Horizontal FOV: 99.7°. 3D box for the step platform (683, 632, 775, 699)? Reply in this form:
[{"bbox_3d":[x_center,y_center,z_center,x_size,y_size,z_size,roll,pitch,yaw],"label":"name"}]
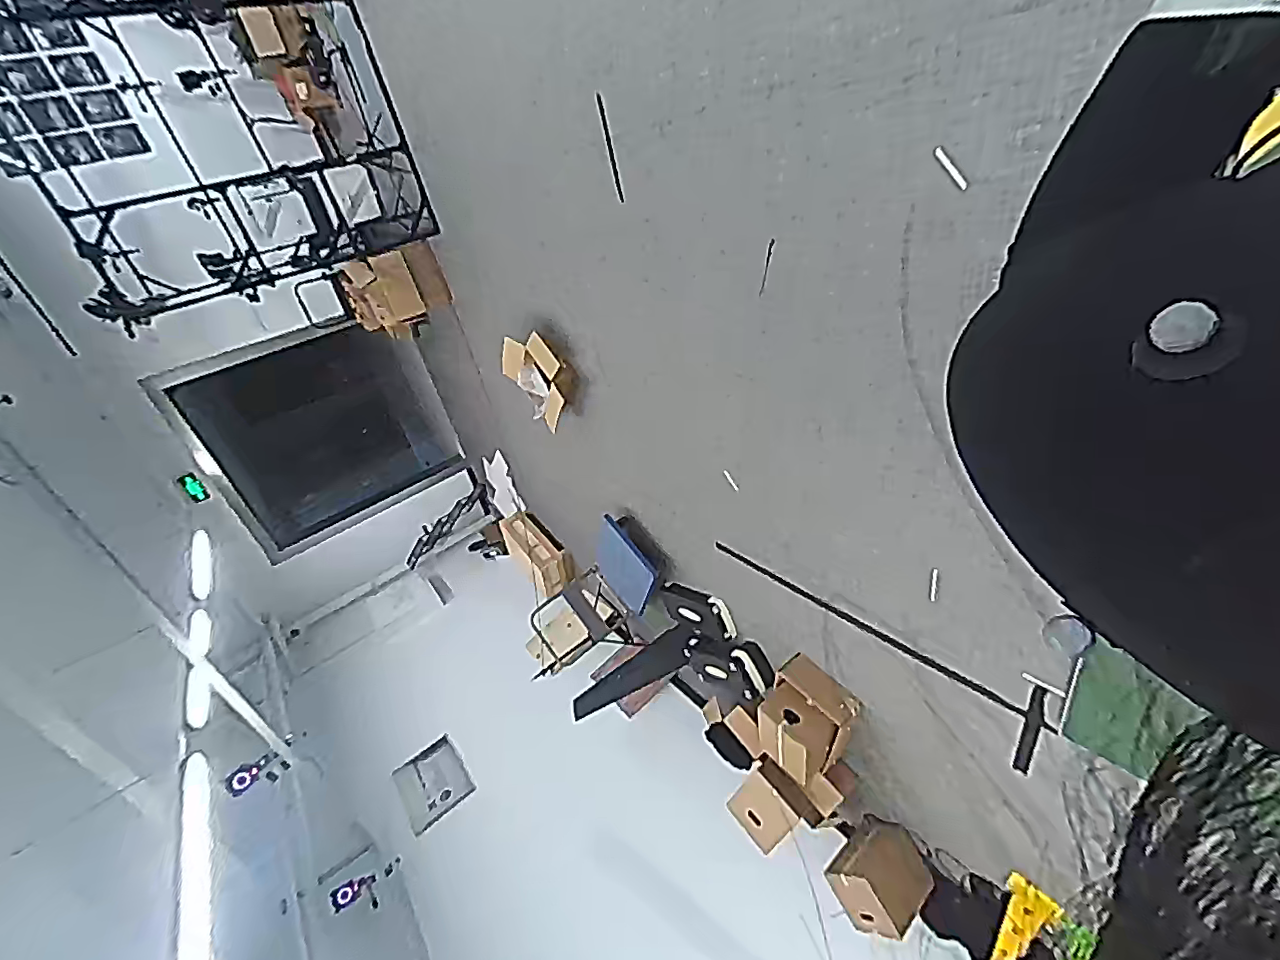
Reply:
[{"bbox_3d":[0.551,1.193,3.506,0.286,0.204,0.684,61,153,-4],"label":"step platform"}]
